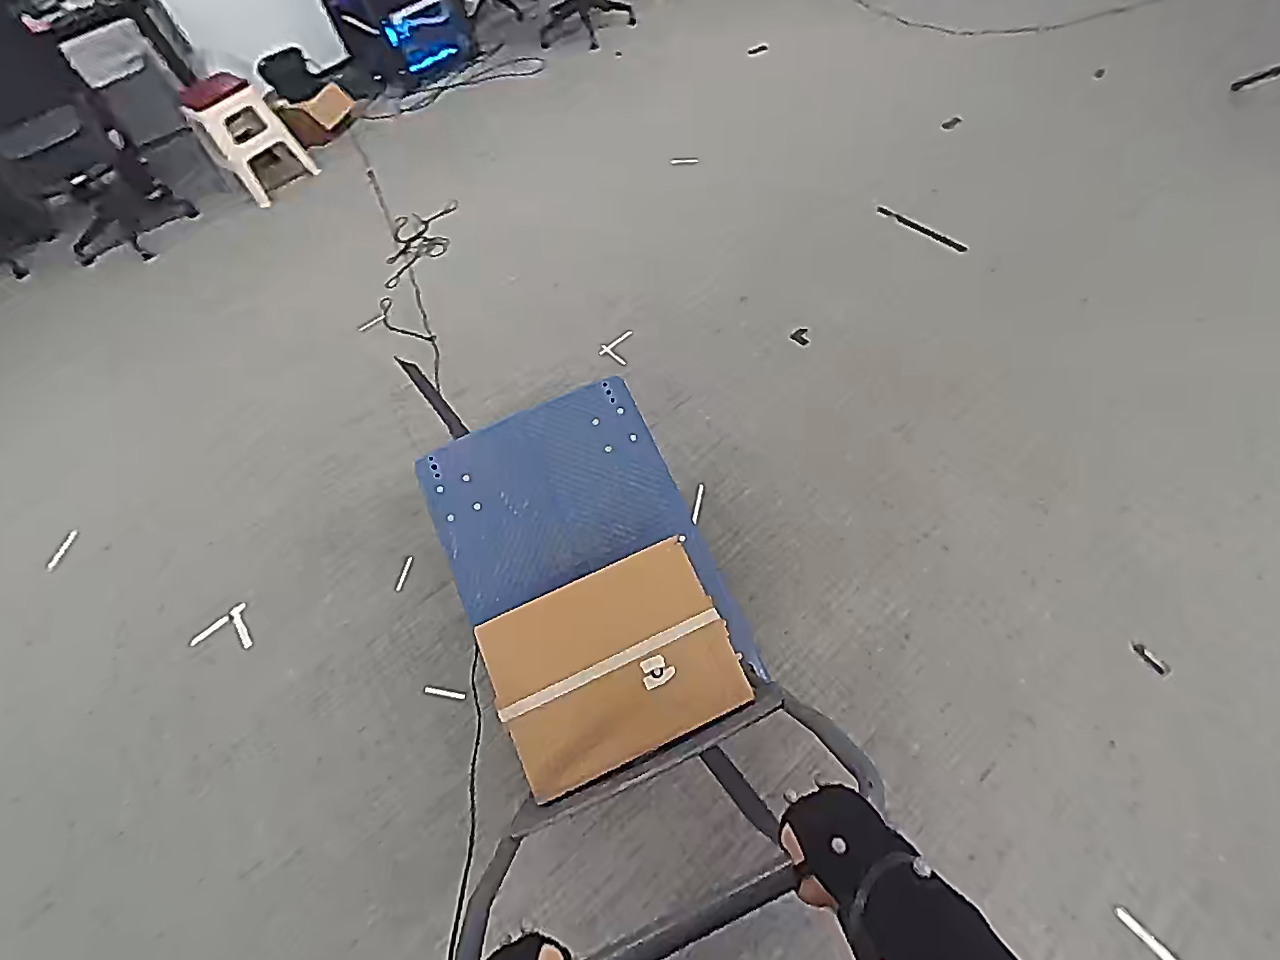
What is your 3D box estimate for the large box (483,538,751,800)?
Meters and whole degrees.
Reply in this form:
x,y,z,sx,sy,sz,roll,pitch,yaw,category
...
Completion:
x,y,z,sx,sy,sz,roll,pitch,yaw,category
-0.045,0.365,1.102,0.408,0.320,0.320,-24,76,-7,large box
